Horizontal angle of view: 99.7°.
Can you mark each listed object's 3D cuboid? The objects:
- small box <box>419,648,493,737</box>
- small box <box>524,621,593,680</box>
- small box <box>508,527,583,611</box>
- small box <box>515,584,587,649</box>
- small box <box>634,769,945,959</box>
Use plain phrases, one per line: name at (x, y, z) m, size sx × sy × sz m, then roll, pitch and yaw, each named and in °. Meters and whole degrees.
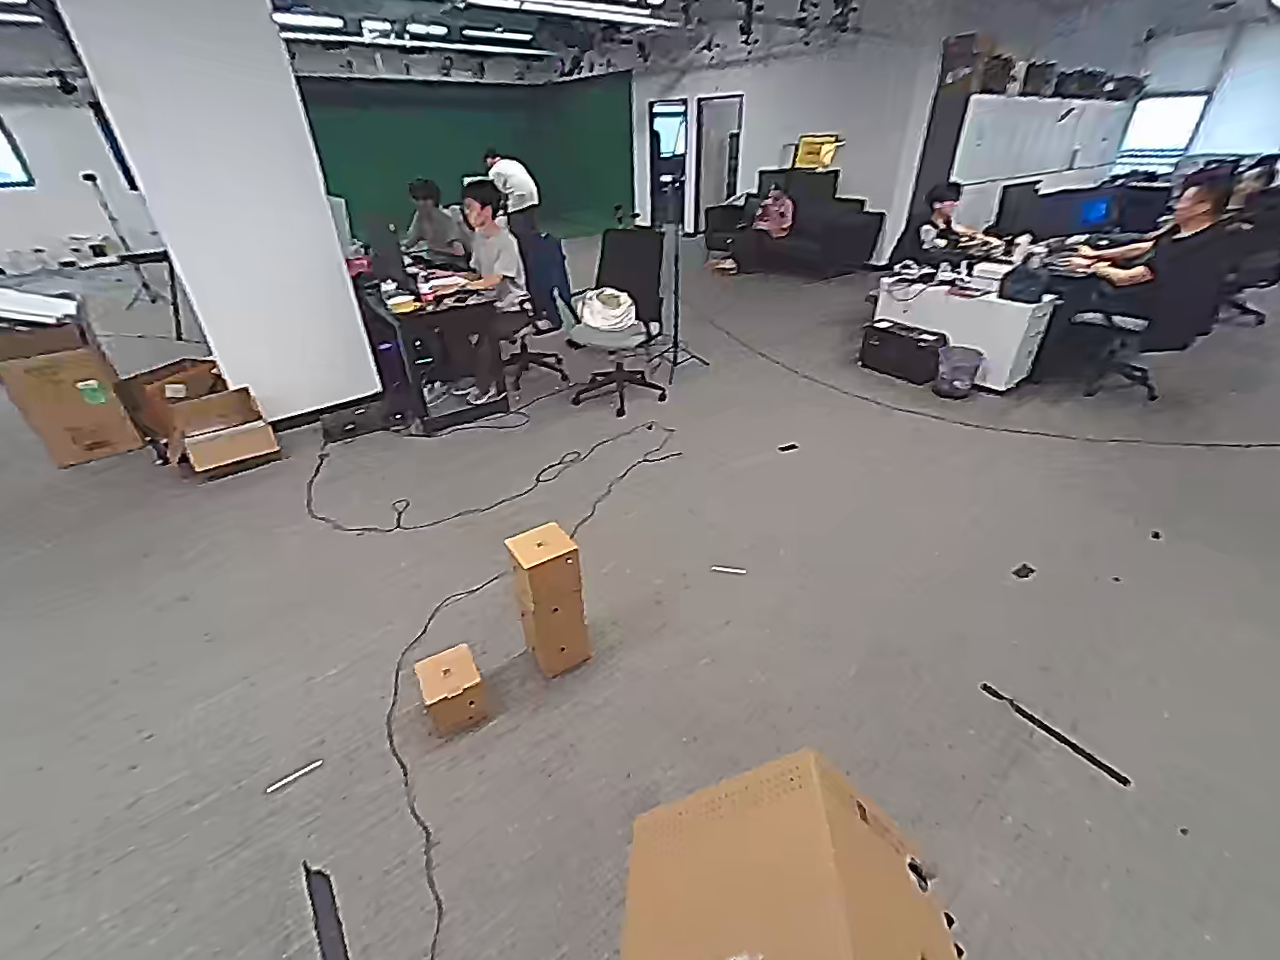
small box at (-0.575, 0.673, 1.698) m, size 0.168 × 0.176 × 0.179 m, roll -18°, pitch 35°, yaw -25°
small box at (-0.278, 0.555, 1.869) m, size 0.179 × 0.176 × 0.168 m, roll -21°, pitch 37°, yaw -27°
small box at (-0.292, 0.280, 1.691) m, size 0.179 × 0.176 × 0.168 m, roll -20°, pitch 36°, yaw -28°
small box at (-0.289, 0.419, 1.776) m, size 0.179 × 0.176 × 0.168 m, roll -19°, pitch 36°, yaw -26°
small box at (0.104, 0.340, 0.380) m, size 0.179 × 0.168 × 0.176 m, roll -36°, pitch 20°, yaw 24°
